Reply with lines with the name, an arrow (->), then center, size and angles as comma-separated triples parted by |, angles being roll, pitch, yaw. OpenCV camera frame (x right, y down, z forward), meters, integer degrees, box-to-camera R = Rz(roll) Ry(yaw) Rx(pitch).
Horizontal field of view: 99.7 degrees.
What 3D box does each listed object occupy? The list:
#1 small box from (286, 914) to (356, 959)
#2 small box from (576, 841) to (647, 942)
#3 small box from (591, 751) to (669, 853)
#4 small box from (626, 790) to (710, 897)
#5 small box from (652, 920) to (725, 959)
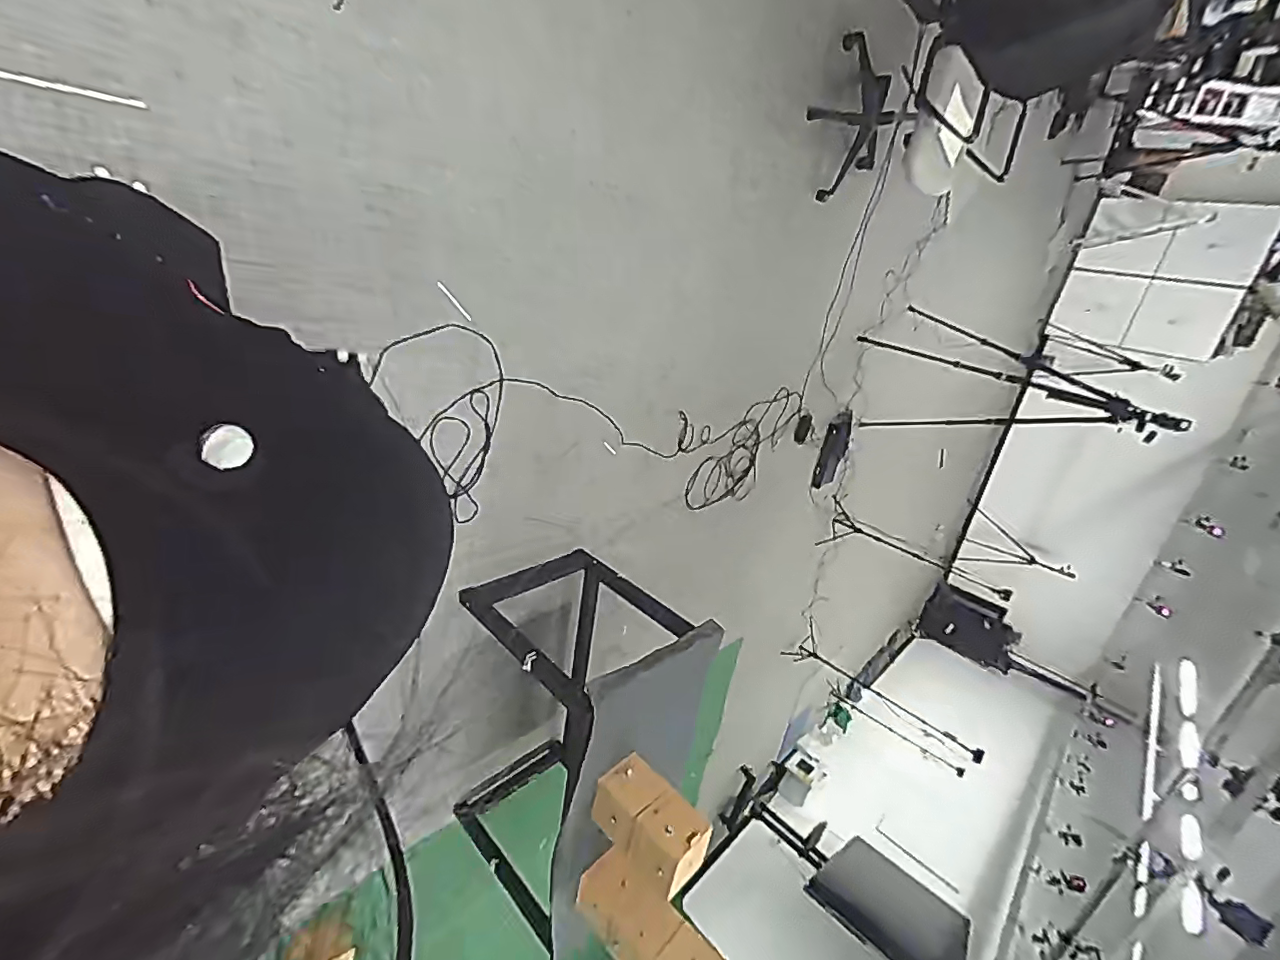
small box -> -1.187, 1.765, 2.004 | 0.168, 0.176, 0.179 | 9, 104, -50
small box -> -0.102, 1.409, 1.861 | 0.179, 0.176, 0.168 | -15, 122, -46
small box -> -0.036, 1.000, 1.696 | 0.168, 0.176, 0.179 | -14, 121, -46
small box -> 0.079, 1.056, 1.595 | 0.168, 0.176, 0.179 | -12, 121, -45
small box -> 0.135, 1.523, 1.664 | 0.179, 0.176, 0.168 | -20, 125, -44
